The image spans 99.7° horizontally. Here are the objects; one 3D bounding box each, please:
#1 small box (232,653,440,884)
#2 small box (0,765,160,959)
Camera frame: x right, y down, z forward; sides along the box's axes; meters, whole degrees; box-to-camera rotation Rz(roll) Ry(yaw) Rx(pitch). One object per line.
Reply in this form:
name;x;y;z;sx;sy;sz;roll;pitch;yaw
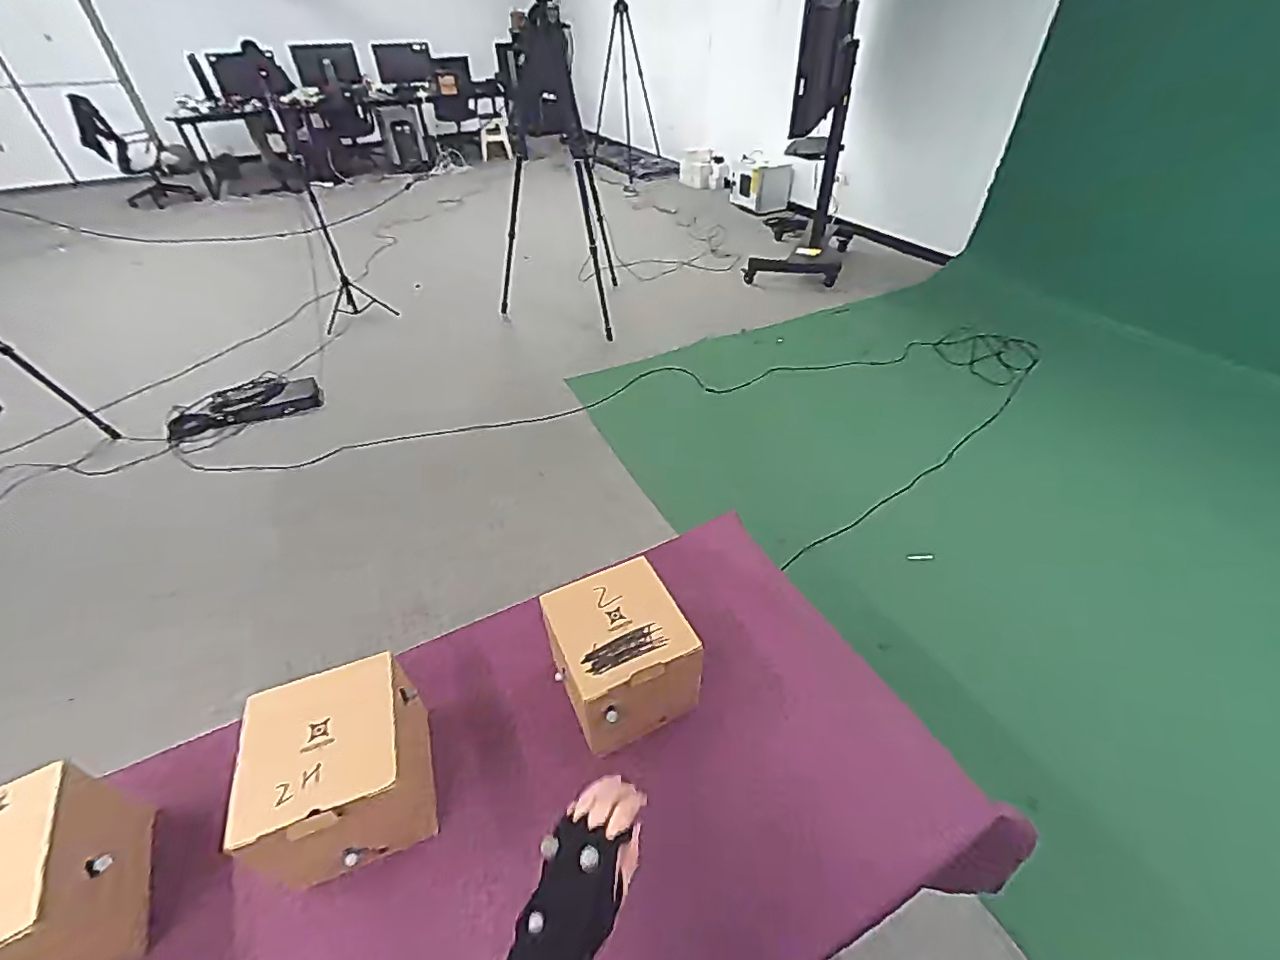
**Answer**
small box;-0.360;0.355;0.672;0.168;0.176;0.179;-16;44;-14
small box;-0.656;0.453;0.575;0.168;0.176;0.179;-23;47;-23
